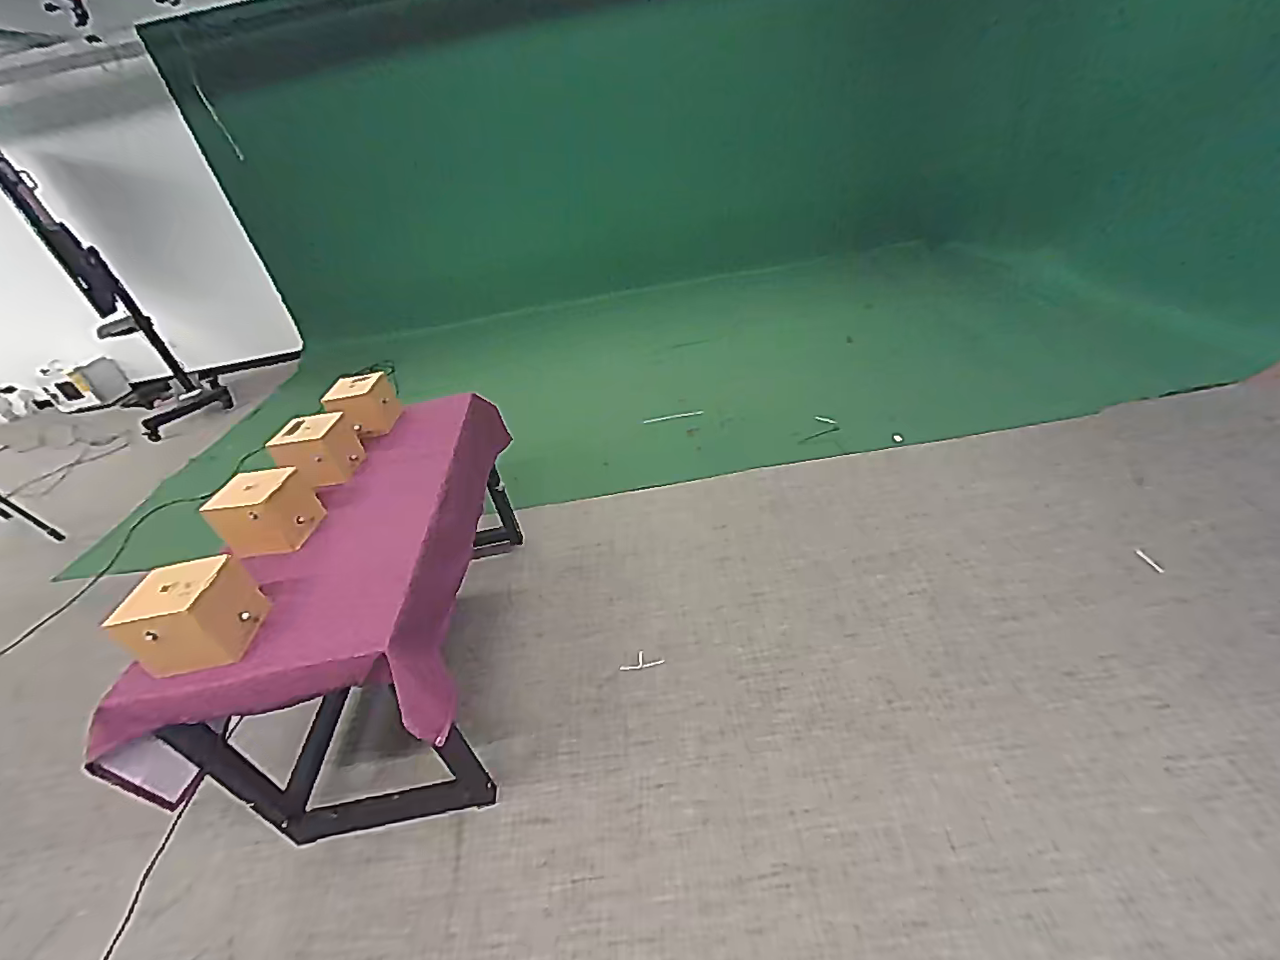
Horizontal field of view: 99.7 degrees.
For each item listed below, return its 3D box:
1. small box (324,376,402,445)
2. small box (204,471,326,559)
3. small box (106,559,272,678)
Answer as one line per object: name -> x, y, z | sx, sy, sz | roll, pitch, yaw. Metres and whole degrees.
small box -> -0.980, -0.249, 1.935 | 0.168, 0.176, 0.179 | -10, 36, 3
small box -> -0.998, 0.098, 1.457 | 0.179, 0.176, 0.168 | -6, 35, 6
small box -> -0.944, 0.297, 1.153 | 0.179, 0.176, 0.168 | -11, 35, 1
